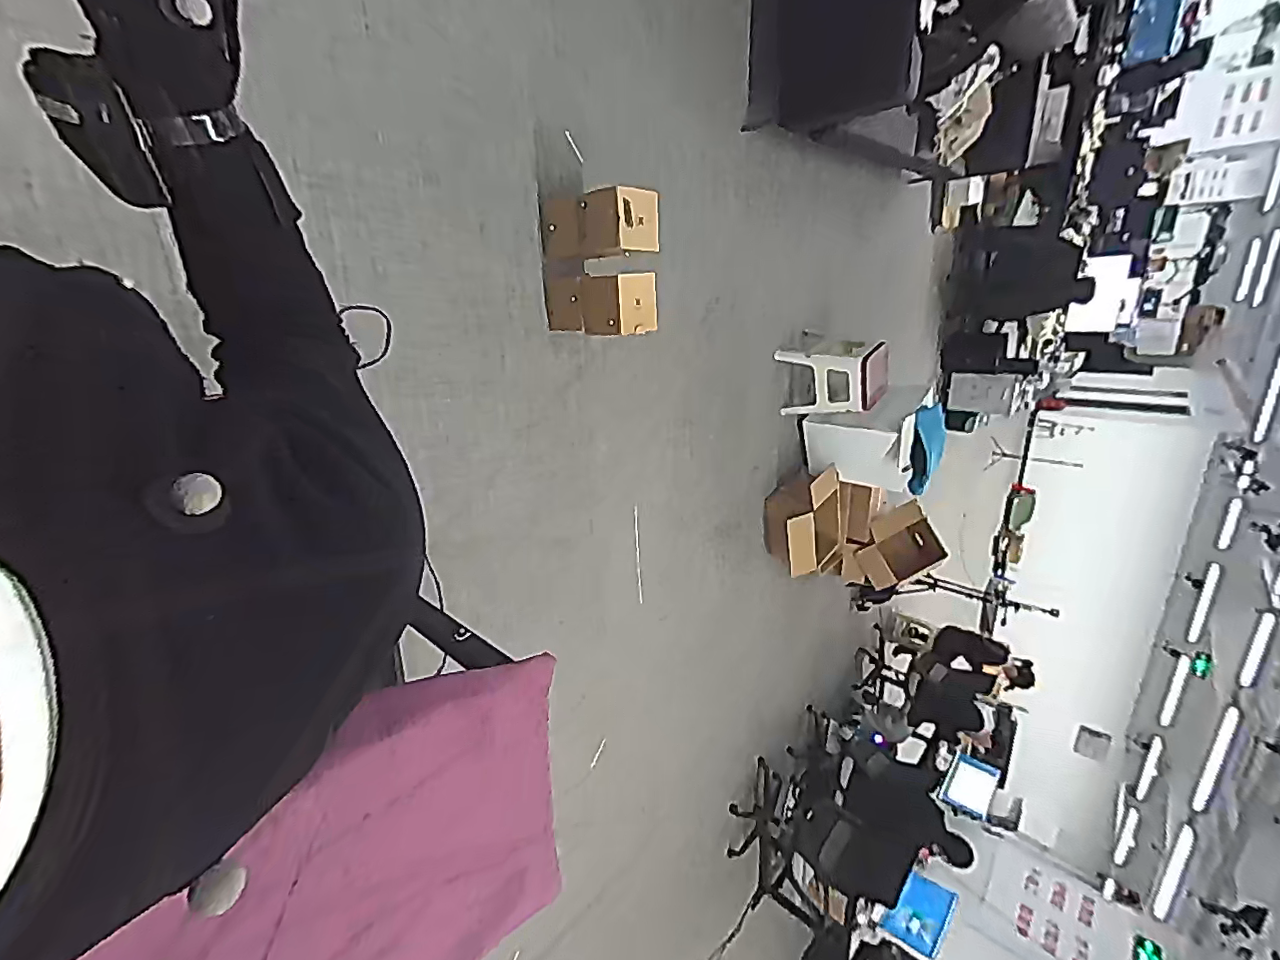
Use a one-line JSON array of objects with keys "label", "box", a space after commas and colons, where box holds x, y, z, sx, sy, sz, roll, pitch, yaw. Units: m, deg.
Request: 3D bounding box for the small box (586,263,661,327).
[{"label": "small box", "box": [-0.054, -0.576, 1.684, 0.168, 0.176, 0.179, -23, 119, -42]}]

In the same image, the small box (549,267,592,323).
[{"label": "small box", "box": [-0.176, -0.613, 1.786, 0.179, 0.176, 0.168, -23, 118, -43]}]
